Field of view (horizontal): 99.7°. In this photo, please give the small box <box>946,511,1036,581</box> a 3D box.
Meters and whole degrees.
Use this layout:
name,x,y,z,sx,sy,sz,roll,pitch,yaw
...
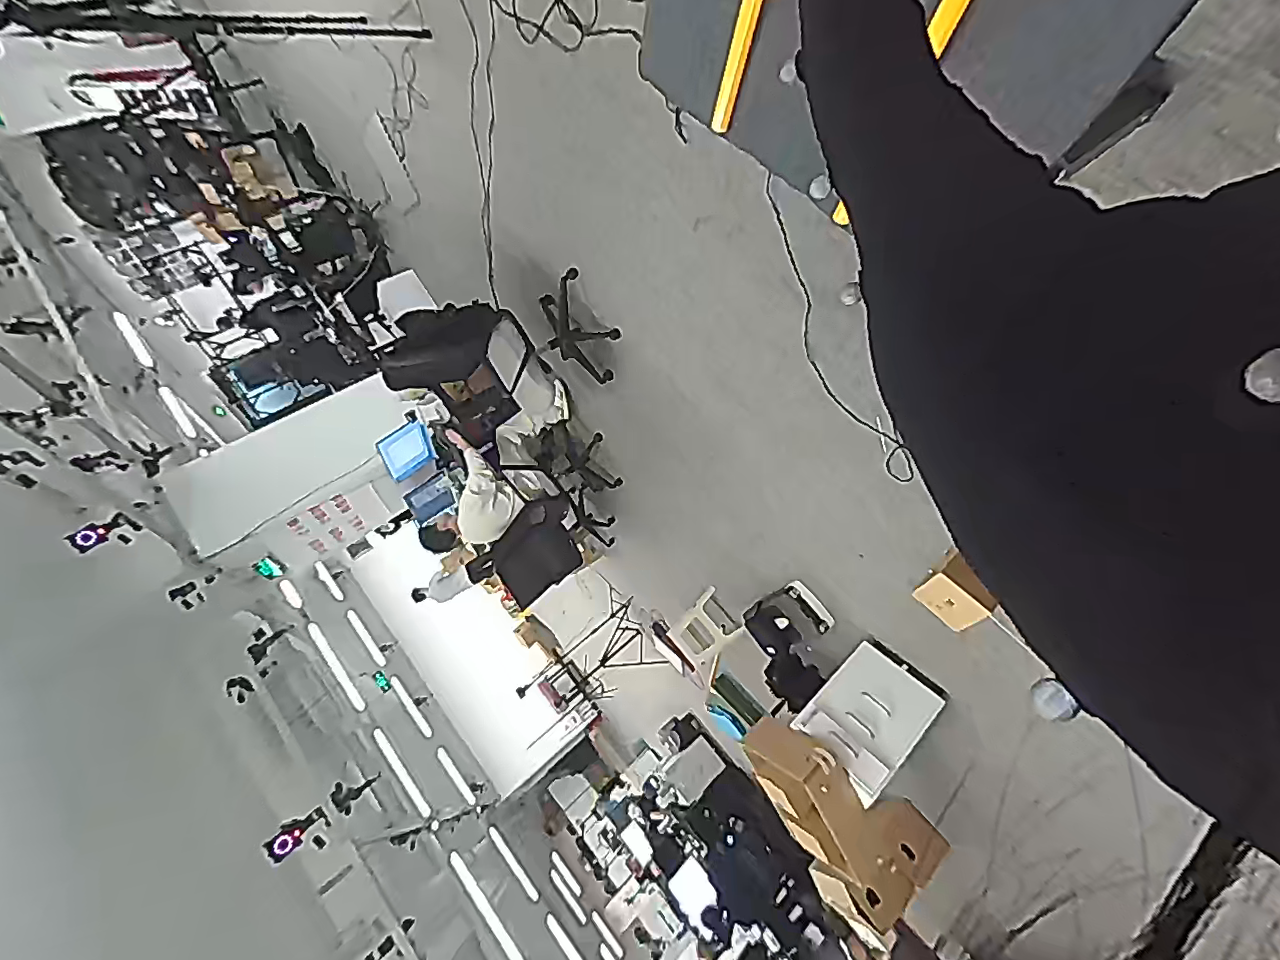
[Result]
name,x,y,z,sx,sy,sz,roll,pitch,yaw
small box,1.093,0.228,1.693,0.168,0.176,0.179,44,154,19

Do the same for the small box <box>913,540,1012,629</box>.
name,x,y,z,sx,sy,sz,roll,pitch,yaw
small box,0.970,0.309,1.620,0.168,0.176,0.179,44,154,20
